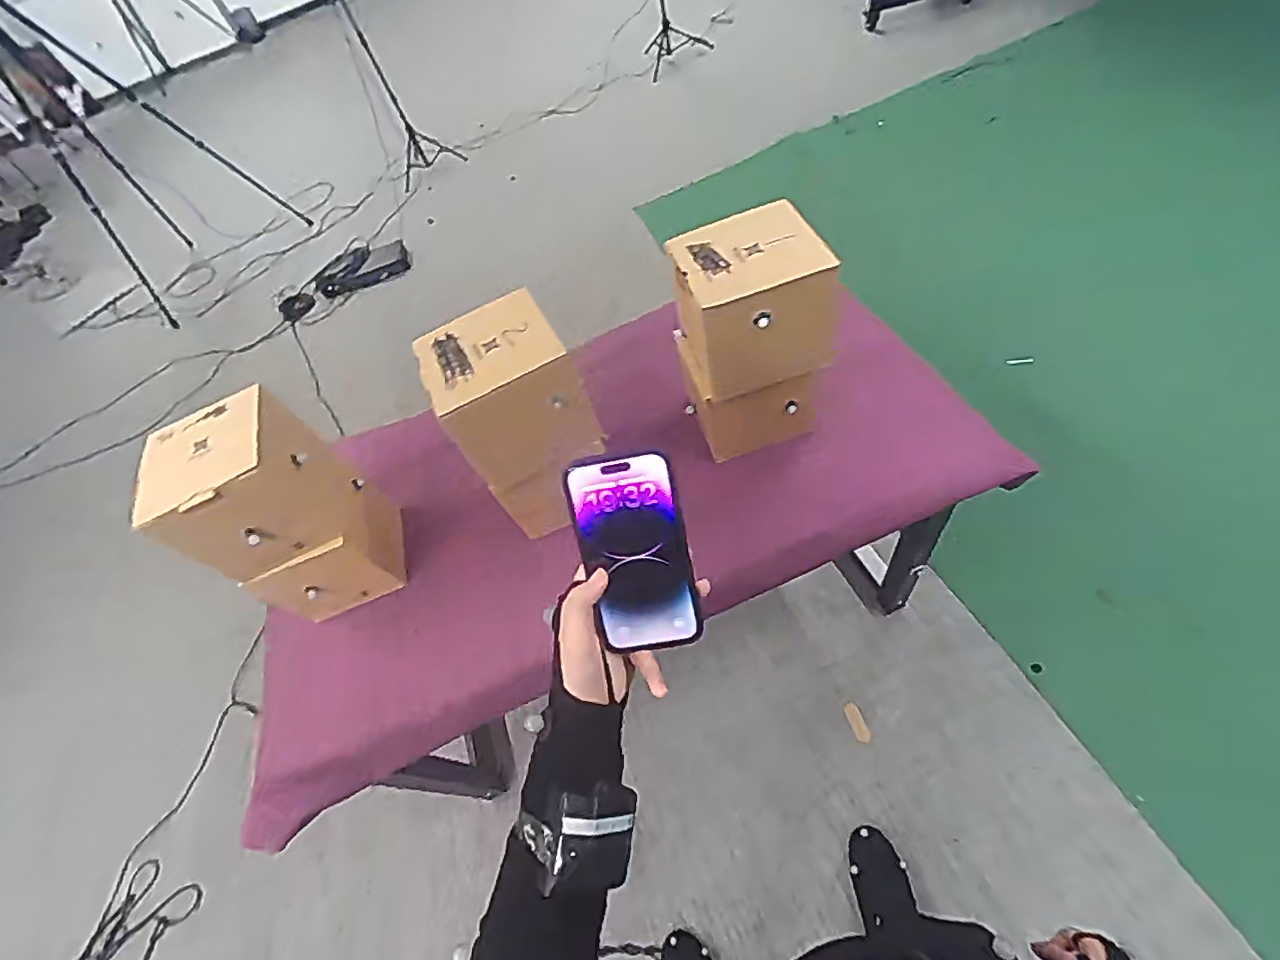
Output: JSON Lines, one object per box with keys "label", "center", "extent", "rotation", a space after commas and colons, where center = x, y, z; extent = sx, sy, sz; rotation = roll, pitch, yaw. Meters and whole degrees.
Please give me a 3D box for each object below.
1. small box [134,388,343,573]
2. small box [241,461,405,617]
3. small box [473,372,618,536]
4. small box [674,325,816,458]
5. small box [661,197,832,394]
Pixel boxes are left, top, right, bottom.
{"label": "small box", "center": [-0.550, 0.011, 0.764], "extent": [0.168, 0.176, 0.179], "rotation": [-27, 55, -4]}
{"label": "small box", "center": [-0.510, 0.107, 0.892], "extent": [0.168, 0.176, 0.179], "rotation": [-23, 54, -1]}
{"label": "small box", "center": [-0.146, -0.037, 0.886], "extent": [0.179, 0.176, 0.168], "rotation": [-24, 54, -1]}
{"label": "small box", "center": [0.170, -0.164, 0.886], "extent": [0.179, 0.176, 0.168], "rotation": [-19, 53, 3]}
{"label": "small box", "center": [0.146, -0.246, 0.745], "extent": [0.179, 0.176, 0.168], "rotation": [-19, 54, 2]}
